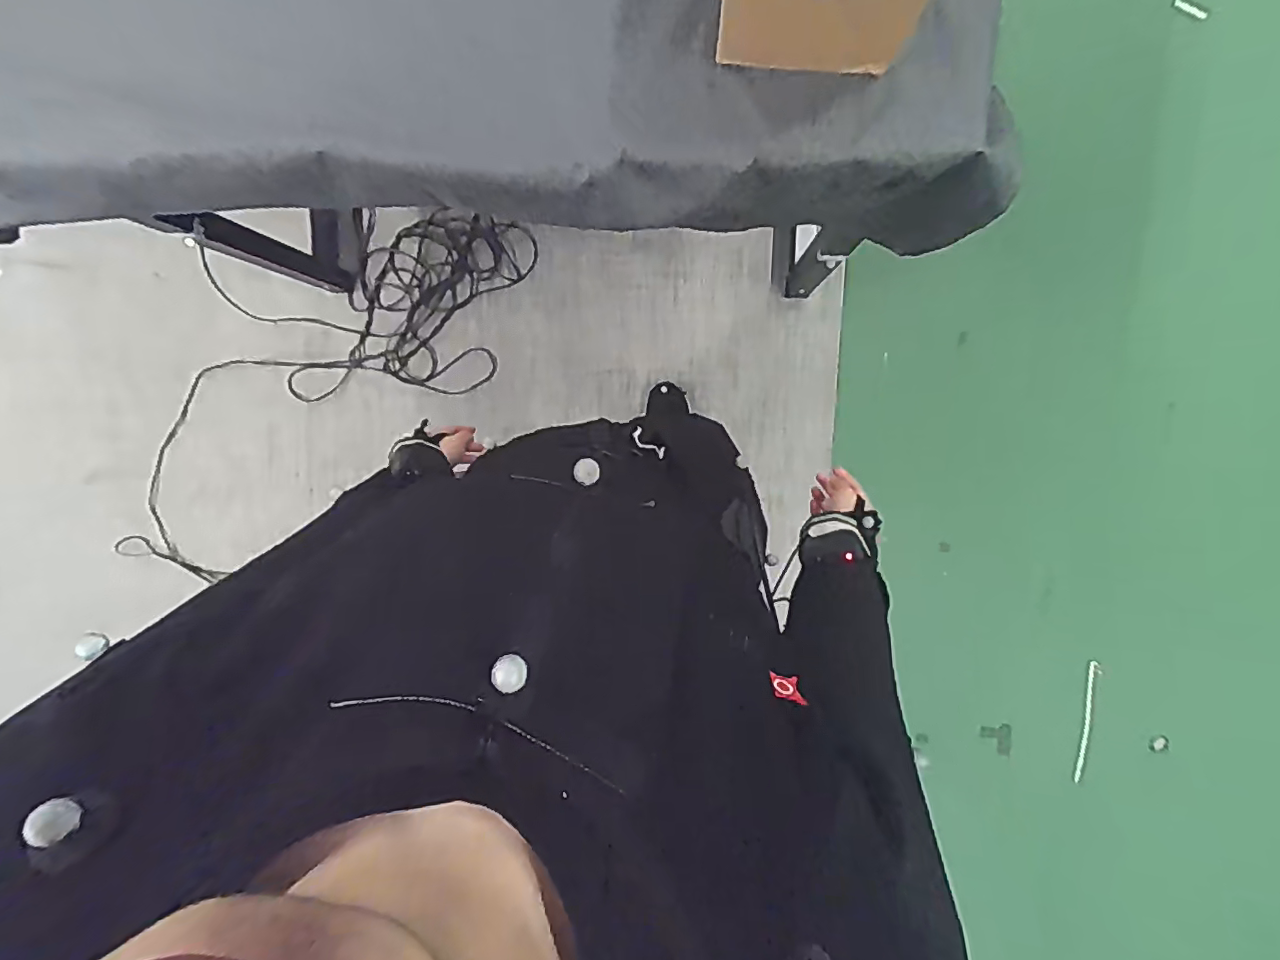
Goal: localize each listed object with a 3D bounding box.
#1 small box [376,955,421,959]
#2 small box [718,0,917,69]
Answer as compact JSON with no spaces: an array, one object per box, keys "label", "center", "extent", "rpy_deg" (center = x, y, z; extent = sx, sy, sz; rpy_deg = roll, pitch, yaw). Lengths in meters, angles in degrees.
[{"label":"small box","center":[-0.677,1.448,1.470],"extent":[0.179,0.176,0.168],"rpy_deg":[1,97,5]},{"label":"small box","center":[0.166,-0.495,0.467],"extent":[0.179,0.176,0.168],"rpy_deg":[7,98,3]}]
